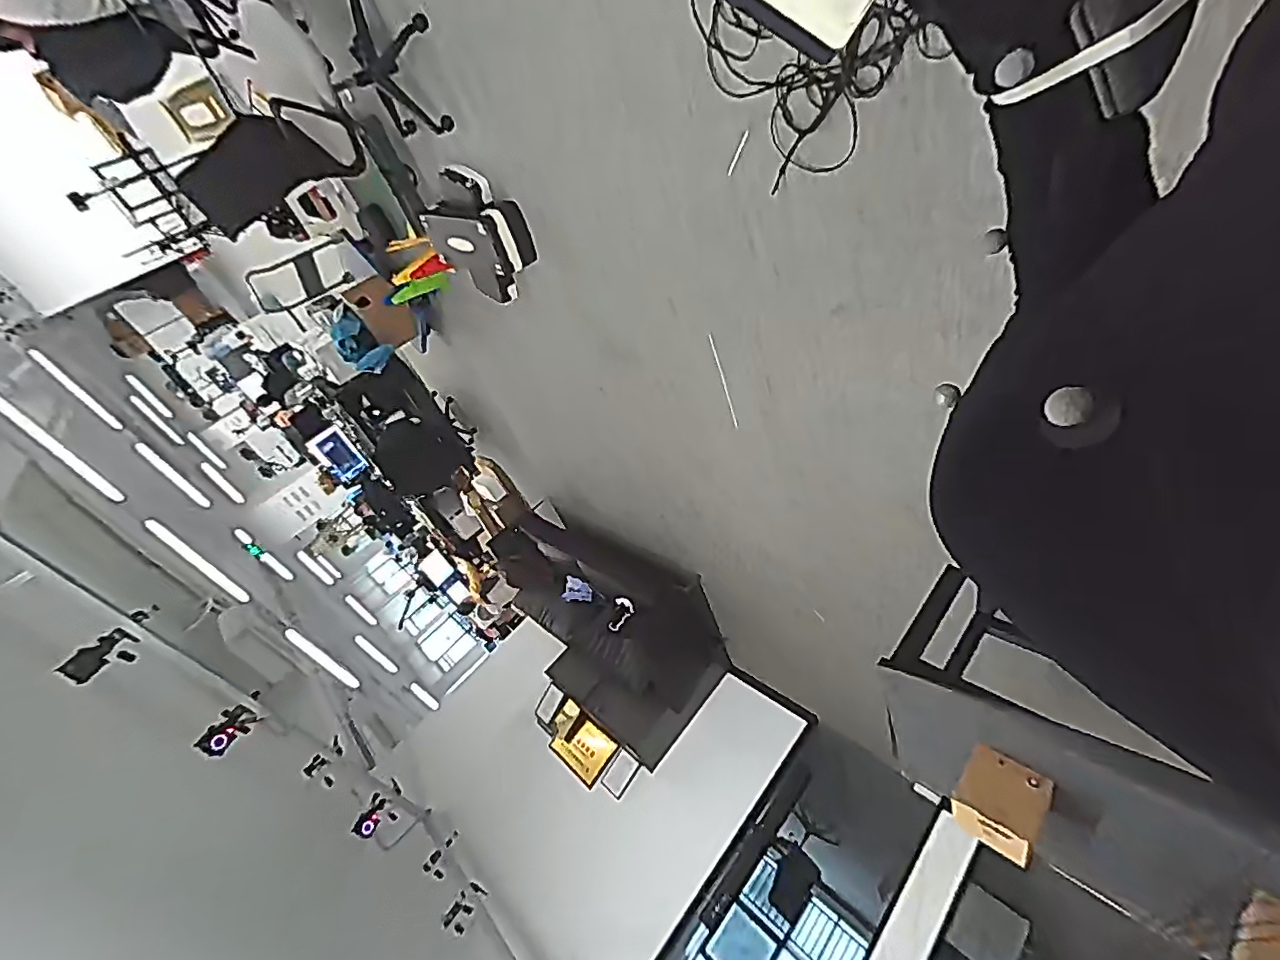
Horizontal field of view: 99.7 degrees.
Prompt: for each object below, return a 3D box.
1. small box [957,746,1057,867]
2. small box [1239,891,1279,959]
[{"bbox_3d":[0.914,0.806,1.350,0.168,0.176,0.179,19,145,45],"label":"small box"},{"bbox_3d":[1.242,0.916,0.994,0.168,0.176,0.179,15,141,48],"label":"small box"}]
